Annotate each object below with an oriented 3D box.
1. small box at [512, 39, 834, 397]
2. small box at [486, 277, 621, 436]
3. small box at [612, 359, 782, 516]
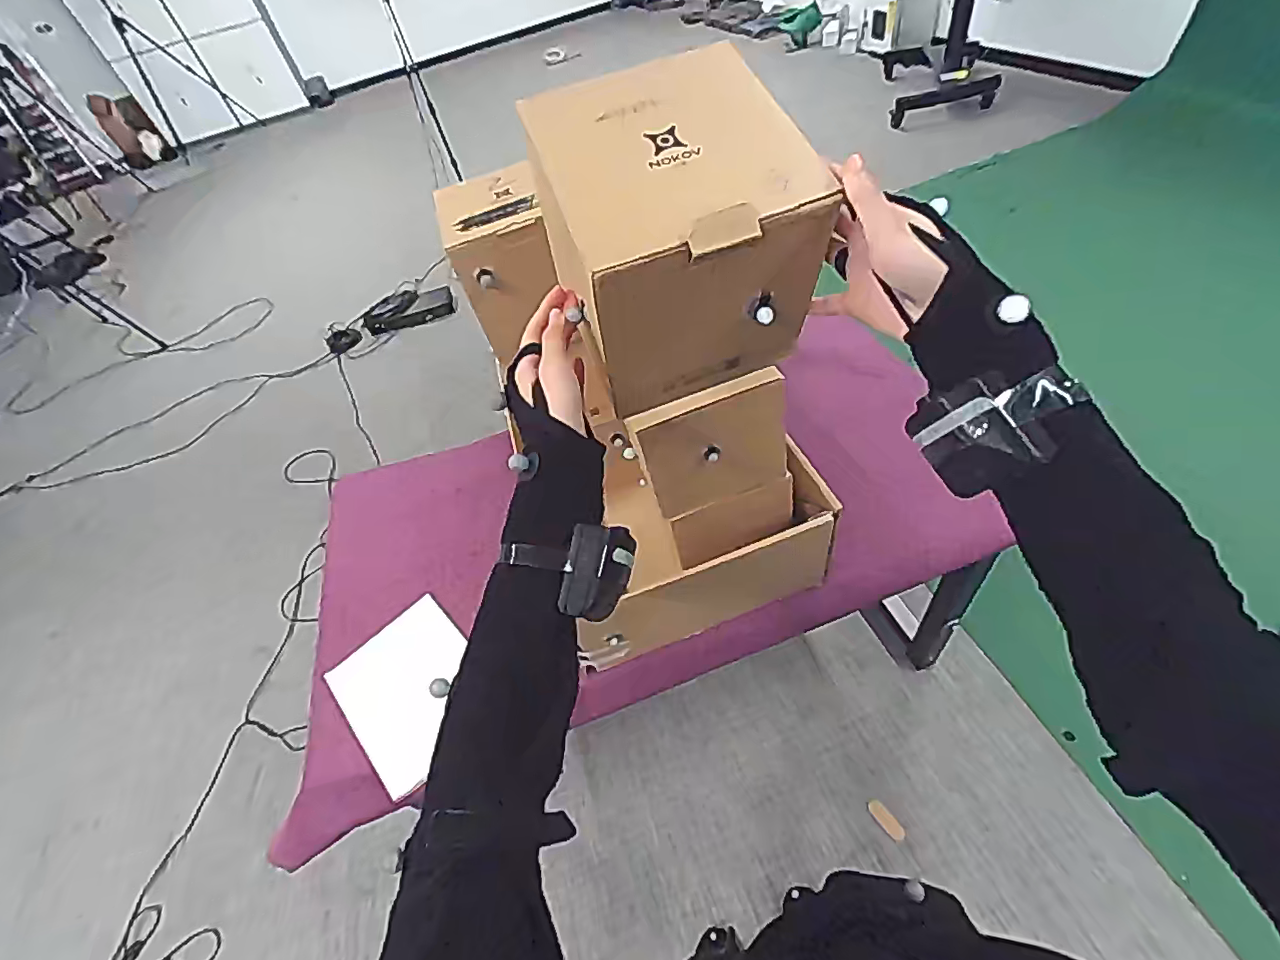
[{"bbox_3d":[0.020,-0.186,0.424,0.168,0.176,0.179,-20,67,-6],"label":"small box"},{"bbox_3d":[-0.123,-0.190,0.843,0.168,0.176,0.179,-19,50,-2],"label":"small box"},{"bbox_3d":[0.069,-0.084,0.695,0.179,0.176,0.168,-21,47,0],"label":"small box"}]
